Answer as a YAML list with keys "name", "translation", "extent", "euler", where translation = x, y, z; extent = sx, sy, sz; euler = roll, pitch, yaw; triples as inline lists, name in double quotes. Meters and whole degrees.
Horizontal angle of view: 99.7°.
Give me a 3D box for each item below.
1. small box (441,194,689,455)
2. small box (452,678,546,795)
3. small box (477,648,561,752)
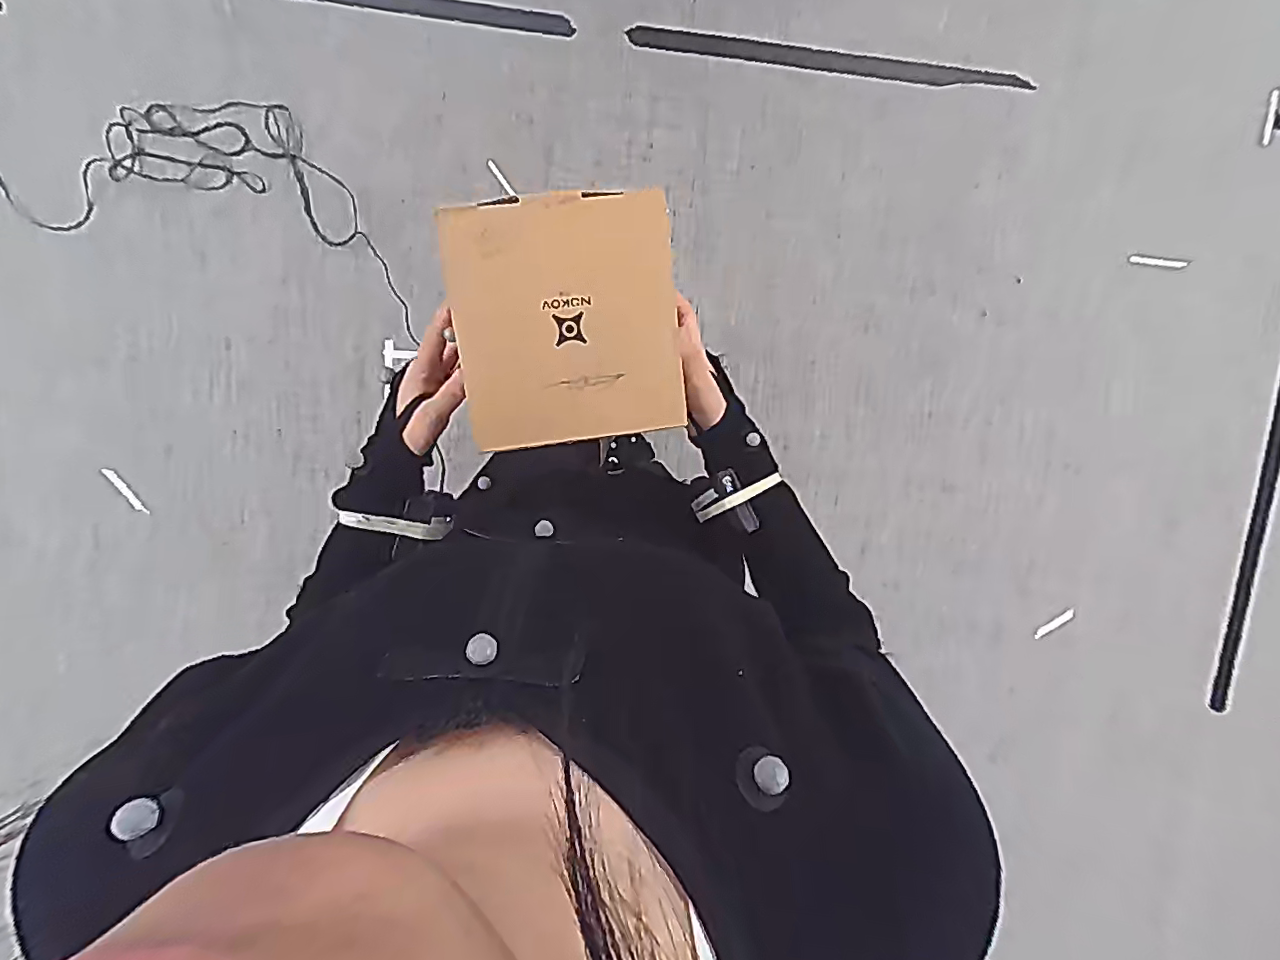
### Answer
- name: "small box"
  translation: [-0.062, -0.127, 0.475]
  extent: [0.168, 0.176, 0.179]
  euler: [-8, 103, -7]
- name: "small box"
  translation: [-0.293, 0.532, 1.122]
  extent: [0.168, 0.176, 0.179]
  euler: [8, 95, -2]
- name: "small box"
  translation: [-0.289, 0.514, 1.284]
  extent: [0.179, 0.176, 0.168]
  euler: [8, 95, -3]
